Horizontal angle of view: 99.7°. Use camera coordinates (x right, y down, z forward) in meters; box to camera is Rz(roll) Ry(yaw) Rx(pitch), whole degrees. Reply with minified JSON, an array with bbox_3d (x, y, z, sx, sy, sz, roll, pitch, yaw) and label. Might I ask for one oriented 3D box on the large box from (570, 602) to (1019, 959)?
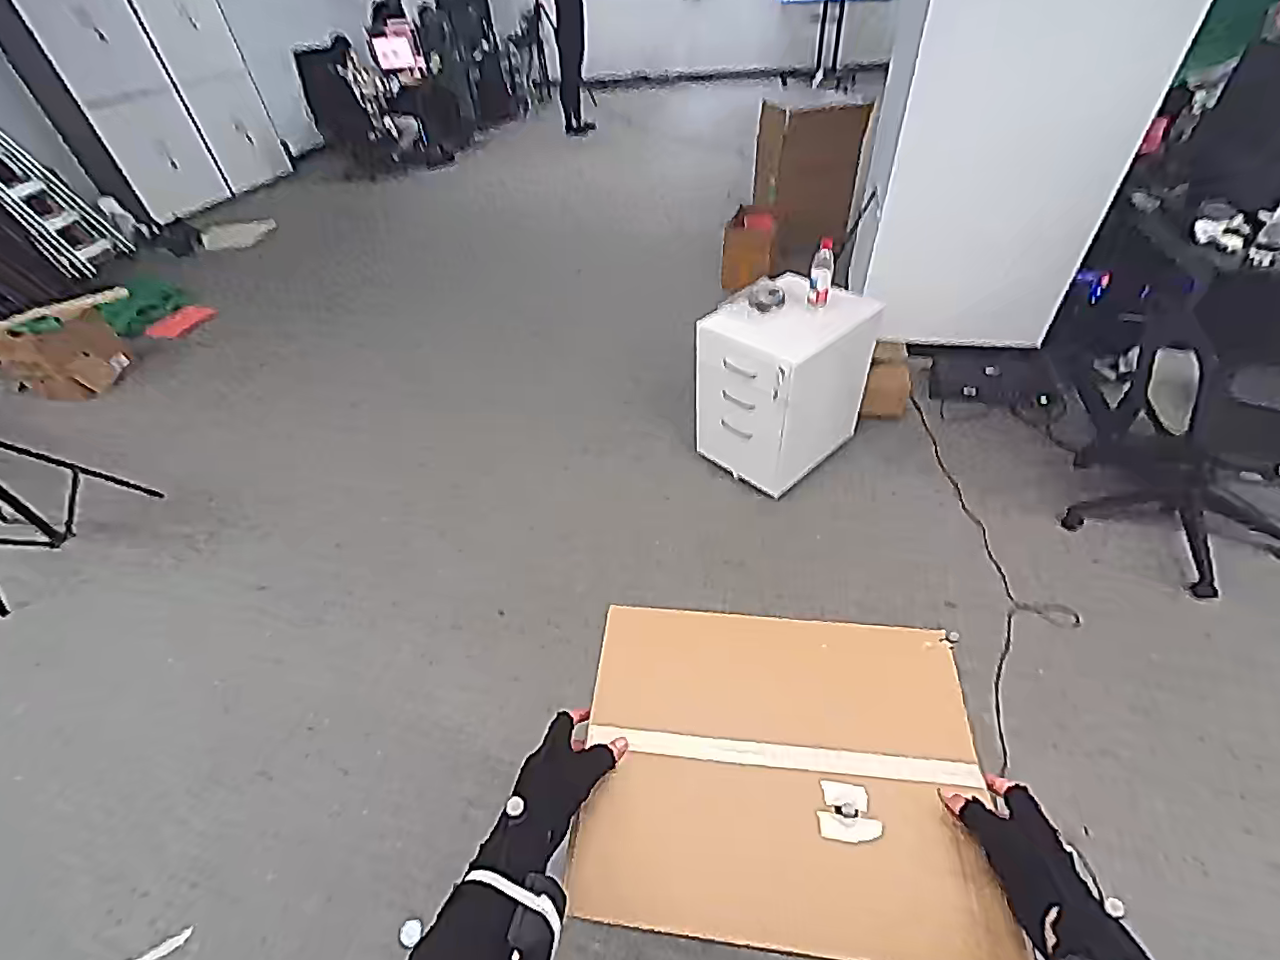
[{"bbox_3d":[0.153,0.376,0.689,0.408,0.320,0.320,3,52,8],"label":"large box"}]
